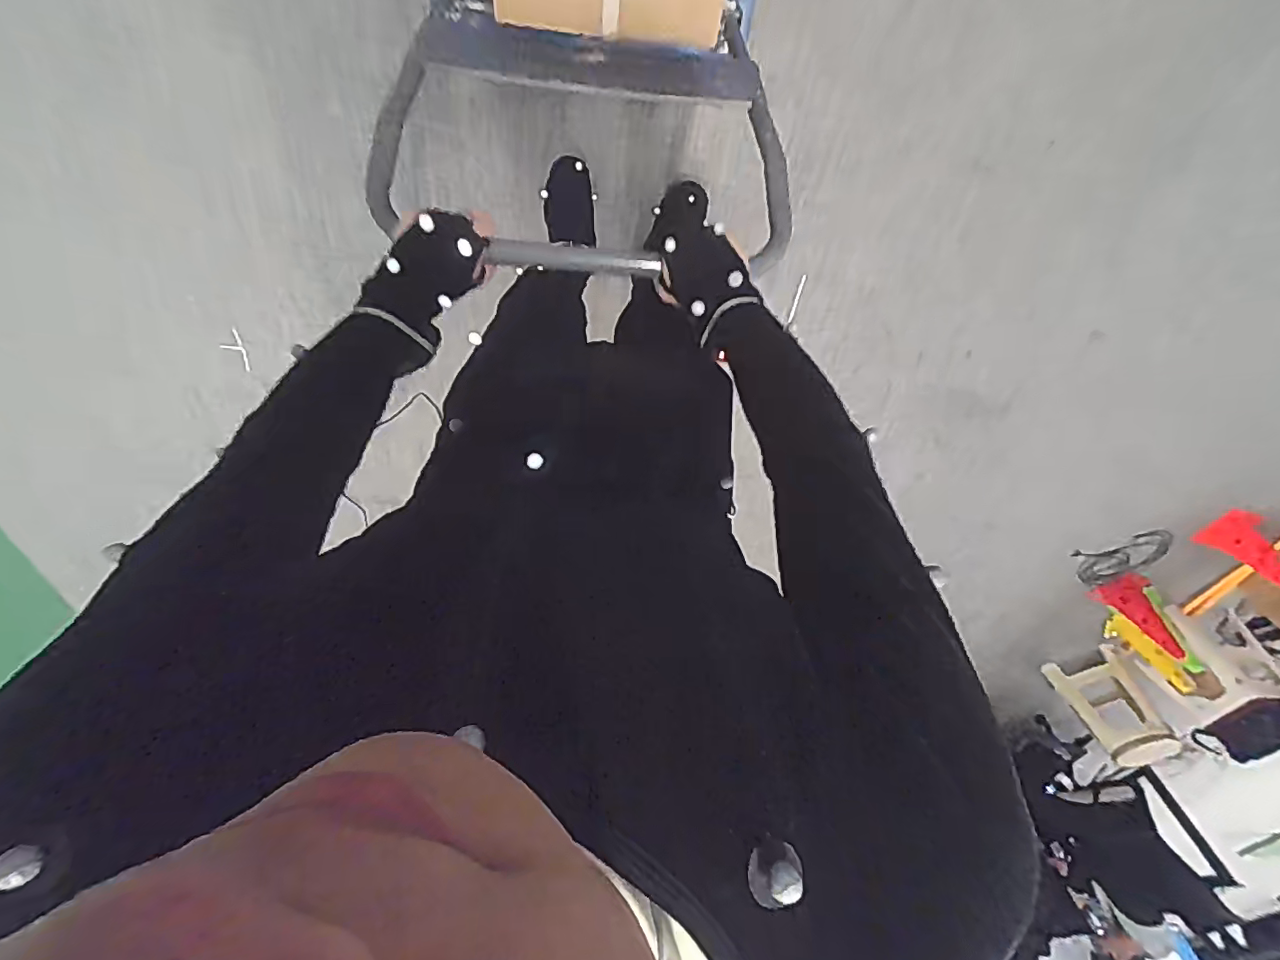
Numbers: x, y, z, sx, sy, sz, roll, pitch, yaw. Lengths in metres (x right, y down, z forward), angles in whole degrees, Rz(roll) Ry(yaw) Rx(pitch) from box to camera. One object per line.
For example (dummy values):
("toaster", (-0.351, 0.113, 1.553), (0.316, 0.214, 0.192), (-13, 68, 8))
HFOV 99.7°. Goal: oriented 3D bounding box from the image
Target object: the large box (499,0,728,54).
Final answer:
("large box", (-0.025, -0.857, 0.702), (0.320, 0.320, 0.408), (2, 143, -6))
